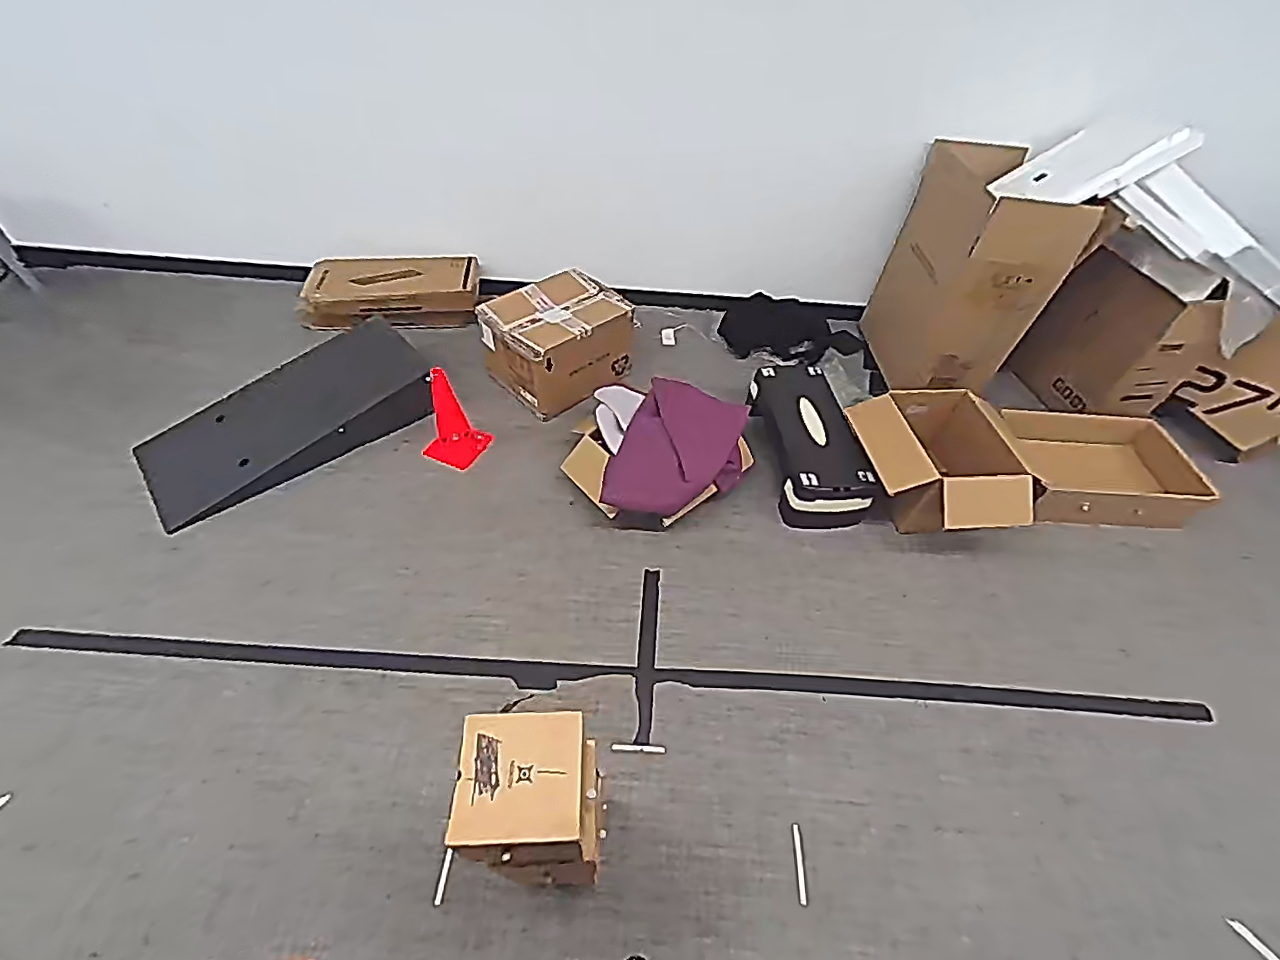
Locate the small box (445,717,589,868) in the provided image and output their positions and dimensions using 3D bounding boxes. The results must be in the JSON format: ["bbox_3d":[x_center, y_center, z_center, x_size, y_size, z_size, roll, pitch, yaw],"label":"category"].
[{"bbox_3d":[-0.169,0.467,0.806,0.179,0.176,0.168,0,48,-3],"label":"small box"}]

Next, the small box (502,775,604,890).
[{"bbox_3d":[-0.159,0.685,1.054,0.168,0.176,0.179,2,49,0],"label":"small box"}]

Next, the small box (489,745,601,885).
[{"bbox_3d":[-0.154,0.576,0.929,0.168,0.176,0.179,-2,49,-3],"label":"small box"}]
